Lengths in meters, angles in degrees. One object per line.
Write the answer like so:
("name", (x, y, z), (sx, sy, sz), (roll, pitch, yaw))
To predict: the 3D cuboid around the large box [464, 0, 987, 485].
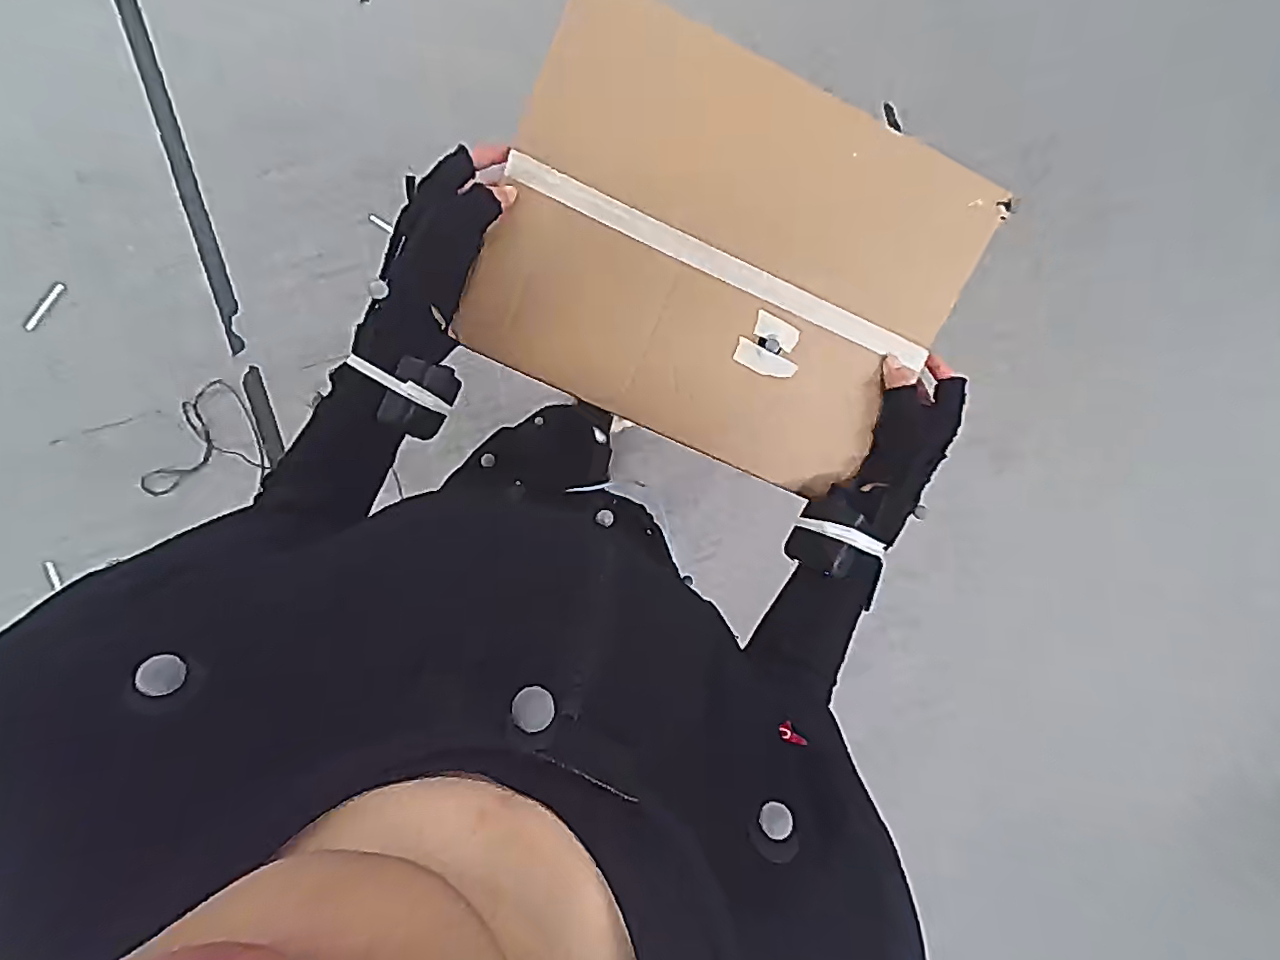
("large box", (0.068, -0.235, 0.638), (0.408, 0.320, 0.320), (23, 102, -7))
